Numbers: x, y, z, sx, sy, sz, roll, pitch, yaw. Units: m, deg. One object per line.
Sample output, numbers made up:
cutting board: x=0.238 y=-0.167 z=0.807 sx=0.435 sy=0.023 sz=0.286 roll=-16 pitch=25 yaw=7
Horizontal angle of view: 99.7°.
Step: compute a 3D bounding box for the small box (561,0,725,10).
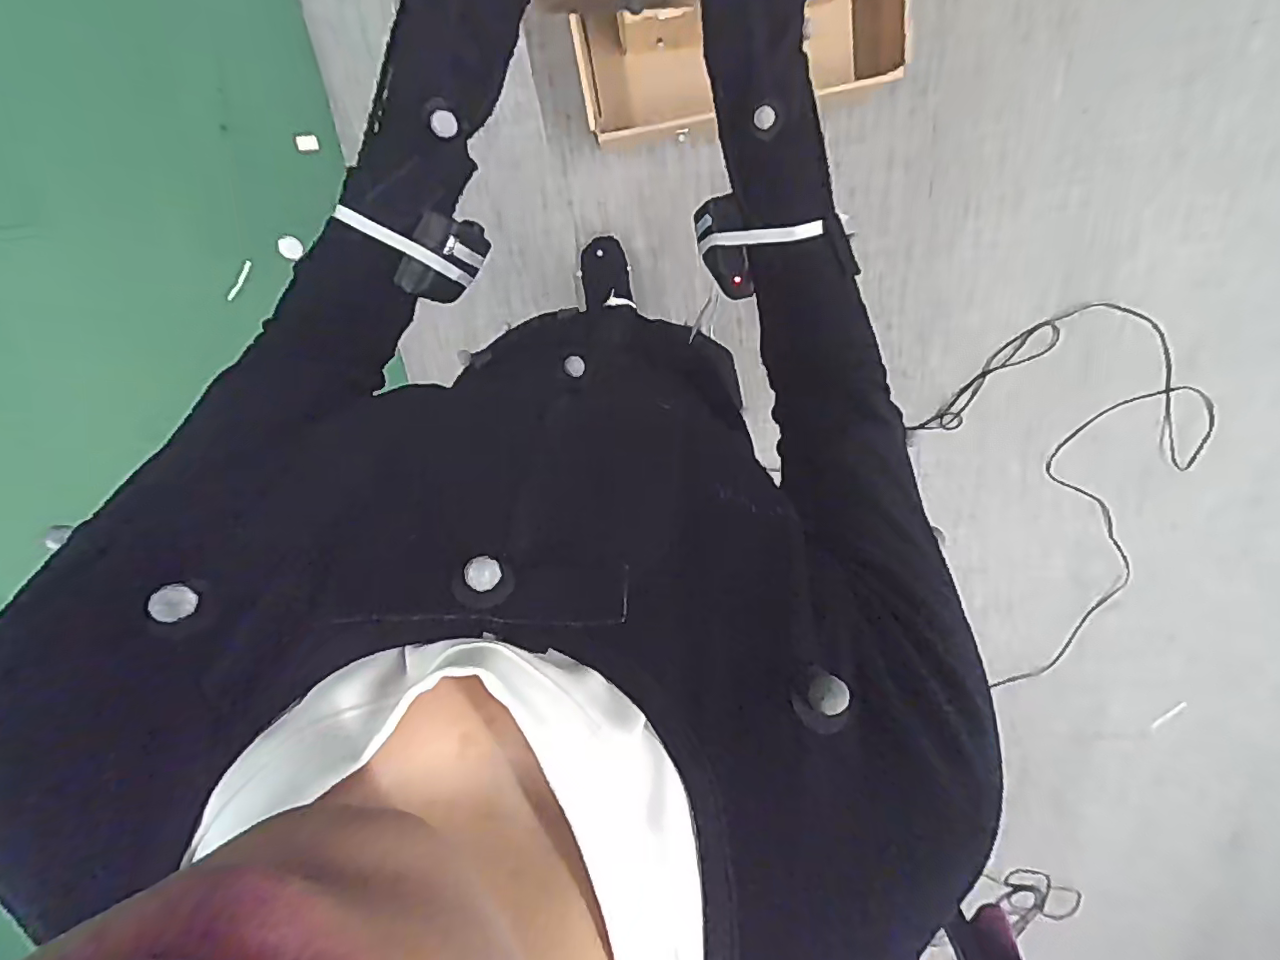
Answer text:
small box: x=0.000 y=-0.443 z=0.346 sx=0.168 sy=0.176 sz=0.179 roll=-1 pitch=117 yaw=3
